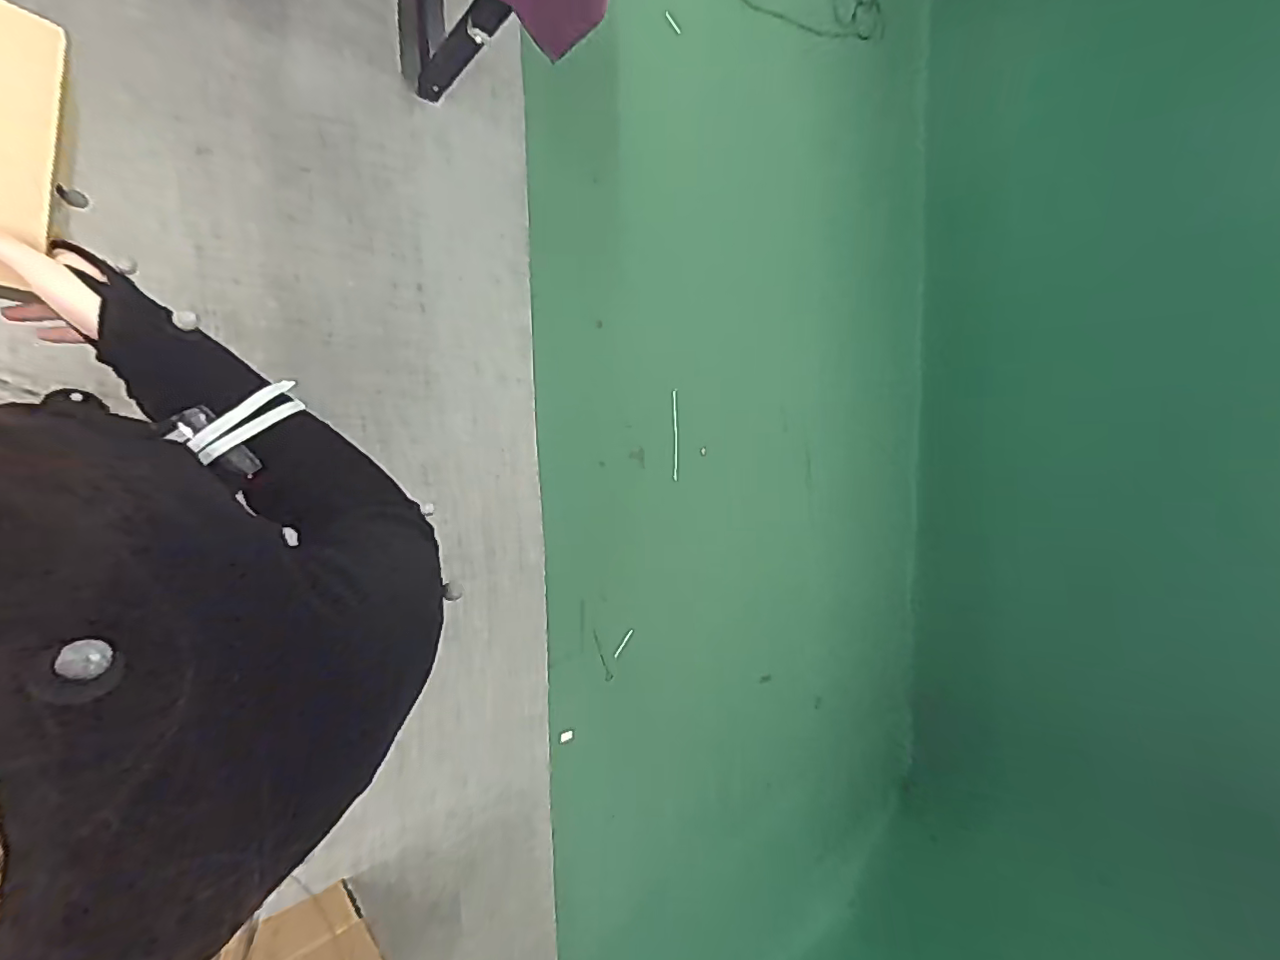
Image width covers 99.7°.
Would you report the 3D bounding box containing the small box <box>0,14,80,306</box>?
[{"bbox_3d":[-0.512,-0.229,0.369,0.168,0.176,0.179,7,94,-45],"label":"small box"}]
